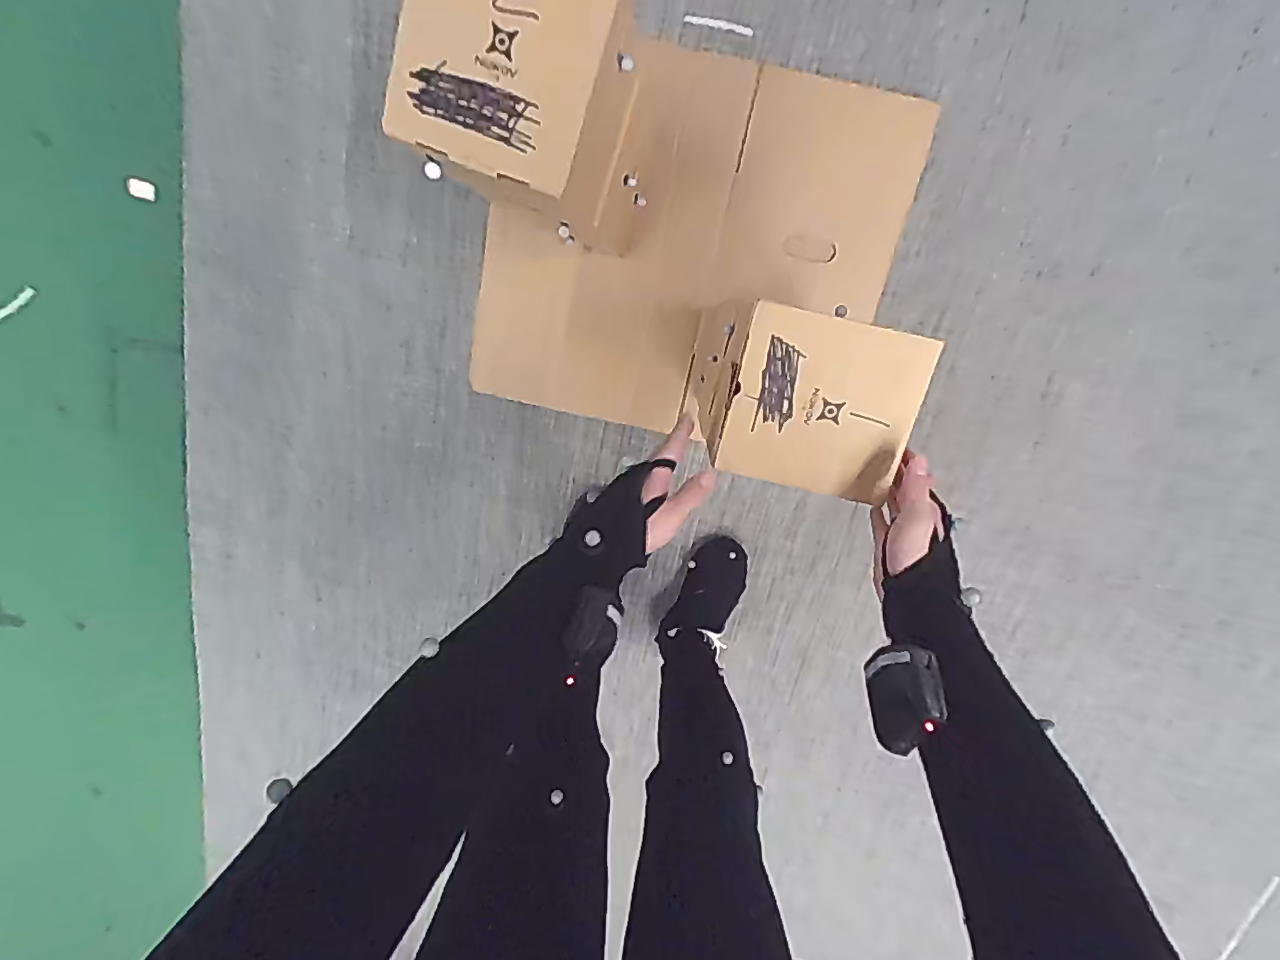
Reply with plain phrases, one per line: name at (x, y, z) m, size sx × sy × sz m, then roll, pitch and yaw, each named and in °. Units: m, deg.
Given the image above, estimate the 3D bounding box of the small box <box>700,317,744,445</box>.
small box at (0.187, -0.127, 0.748) m, size 0.179 × 0.176 × 0.168 m, roll 13°, pitch 107°, yaw 1°

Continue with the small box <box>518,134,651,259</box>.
small box at (-0.089, -0.457, 0.839) m, size 0.179 × 0.176 × 0.168 m, roll 21°, pitch 105°, yaw -3°

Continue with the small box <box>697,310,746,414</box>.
small box at (0.198, -0.177, 0.901) m, size 0.179 × 0.176 × 0.168 m, roll 14°, pitch 106°, yaw 0°

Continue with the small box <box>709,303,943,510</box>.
small box at (0.179, -0.086, 0.588) m, size 0.179 × 0.176 × 0.168 m, roll 13°, pitch 107°, yaw 0°

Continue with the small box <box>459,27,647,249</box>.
small box at (-0.097, -0.406, 0.681) m, size 0.179 × 0.176 × 0.168 m, roll 20°, pitch 105°, yaw -2°
